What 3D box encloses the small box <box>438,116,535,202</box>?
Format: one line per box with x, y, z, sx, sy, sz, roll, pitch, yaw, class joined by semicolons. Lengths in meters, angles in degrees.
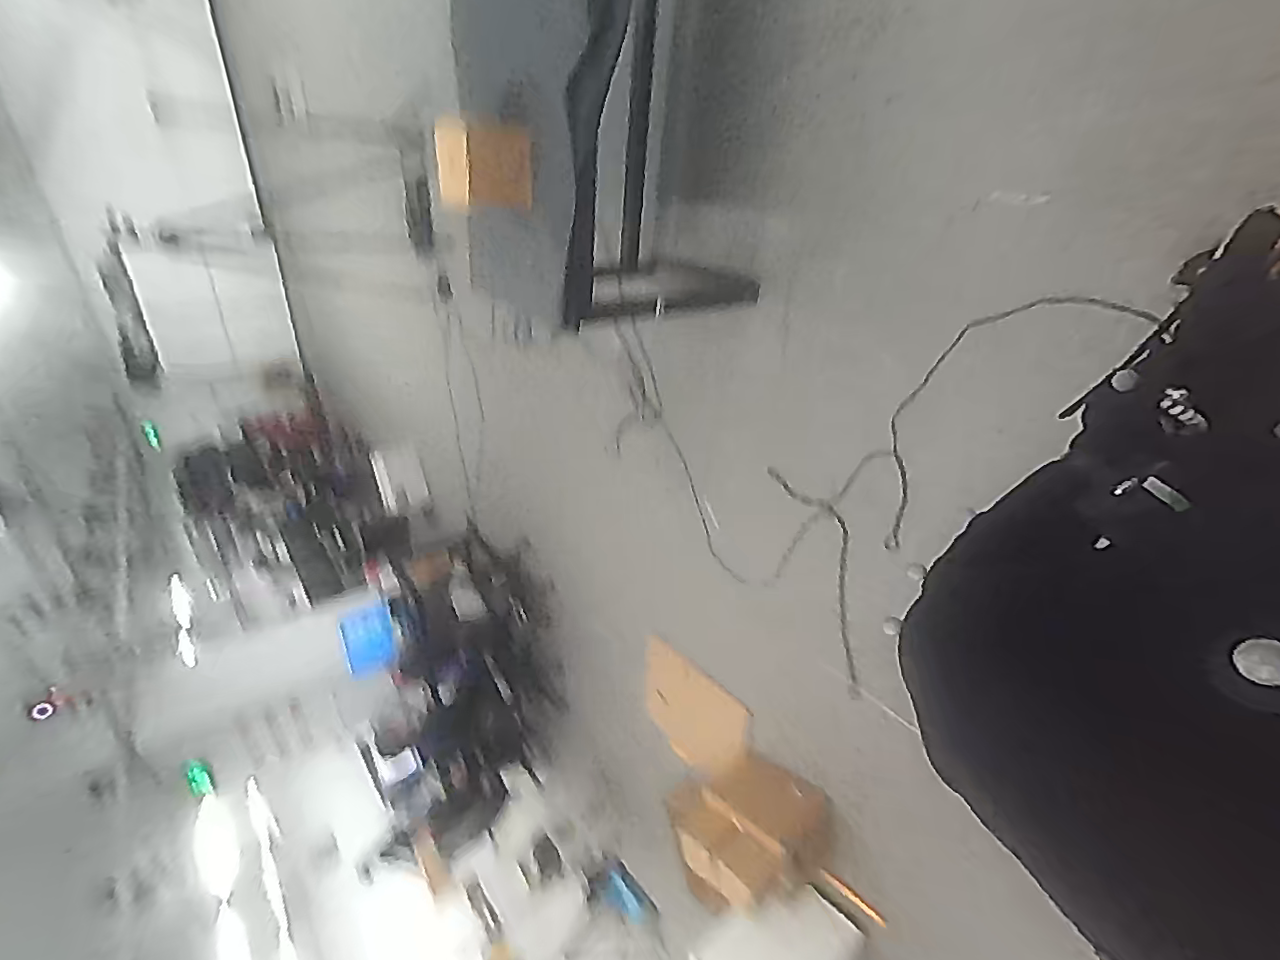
-0.376;-0.785;1.329;0.179;0.176;0.168;33;129;40;small box
